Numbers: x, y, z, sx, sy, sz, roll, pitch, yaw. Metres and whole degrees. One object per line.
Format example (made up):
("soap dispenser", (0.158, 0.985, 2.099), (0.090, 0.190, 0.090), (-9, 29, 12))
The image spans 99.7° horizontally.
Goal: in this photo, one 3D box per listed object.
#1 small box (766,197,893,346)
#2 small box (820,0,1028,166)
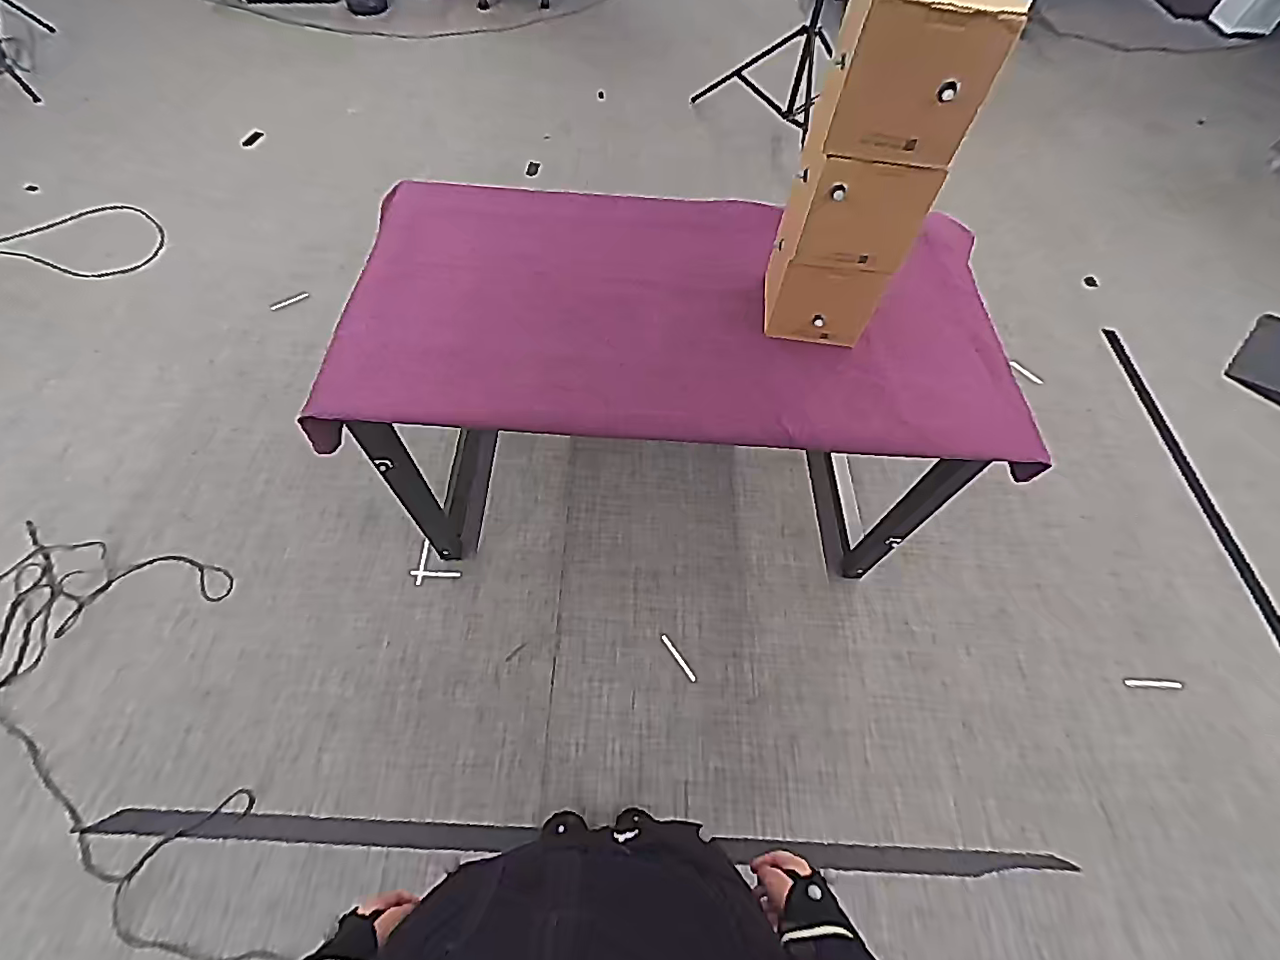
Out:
("small box", (0.325, -0.368, 0.964), (0.168, 0.176, 0.179), (7, 60, 2))
("small box", (0.335, -0.527, 0.679), (0.168, 0.176, 0.179), (10, 59, 2))
